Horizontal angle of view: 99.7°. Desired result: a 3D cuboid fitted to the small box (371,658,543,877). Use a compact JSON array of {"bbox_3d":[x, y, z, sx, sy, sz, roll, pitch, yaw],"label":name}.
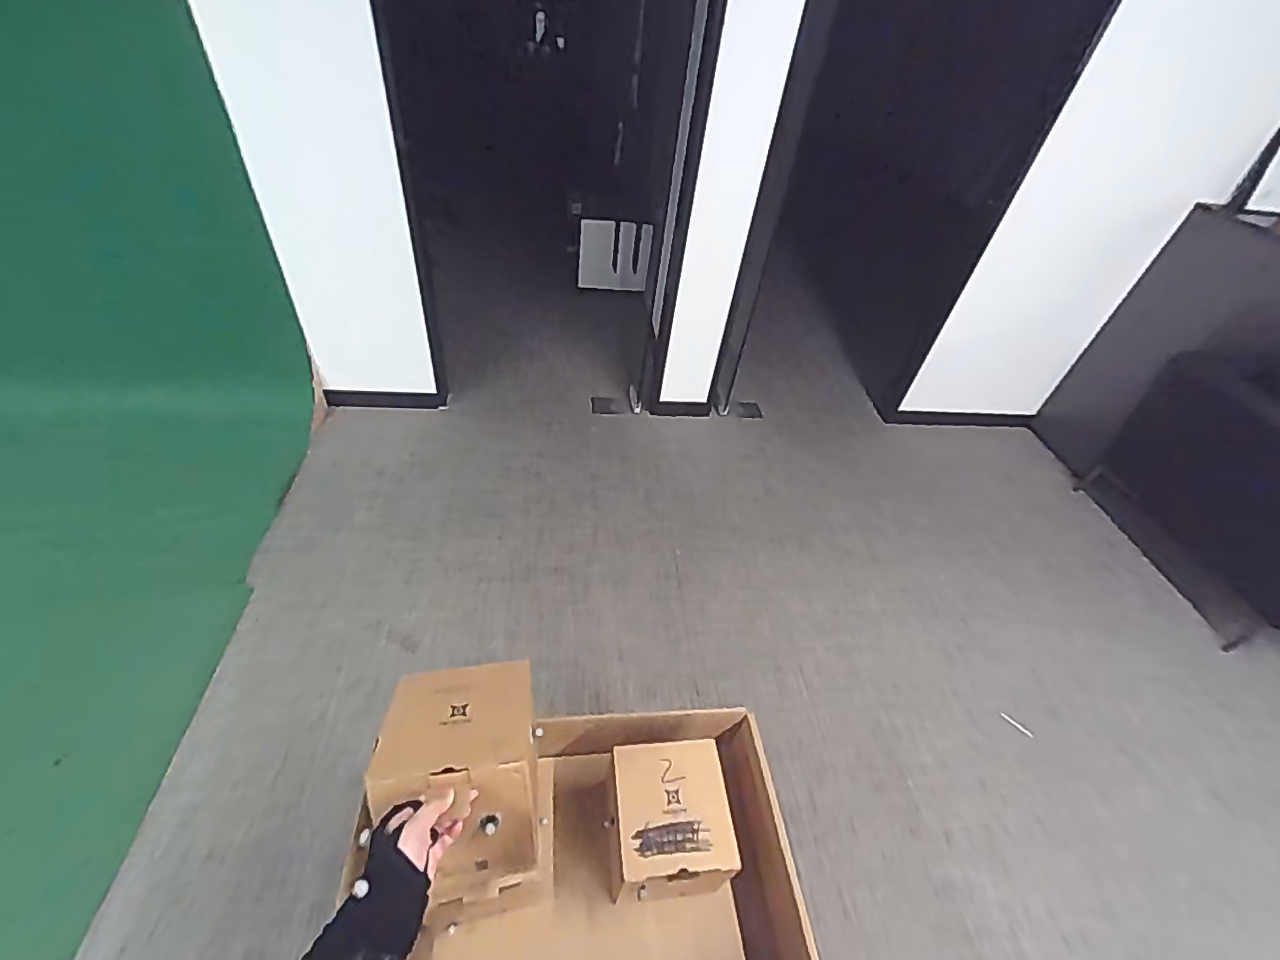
[{"bbox_3d":[-0.209,0.352,0.671,0.168,0.176,0.179,-3,19,-9],"label":"small box"}]
